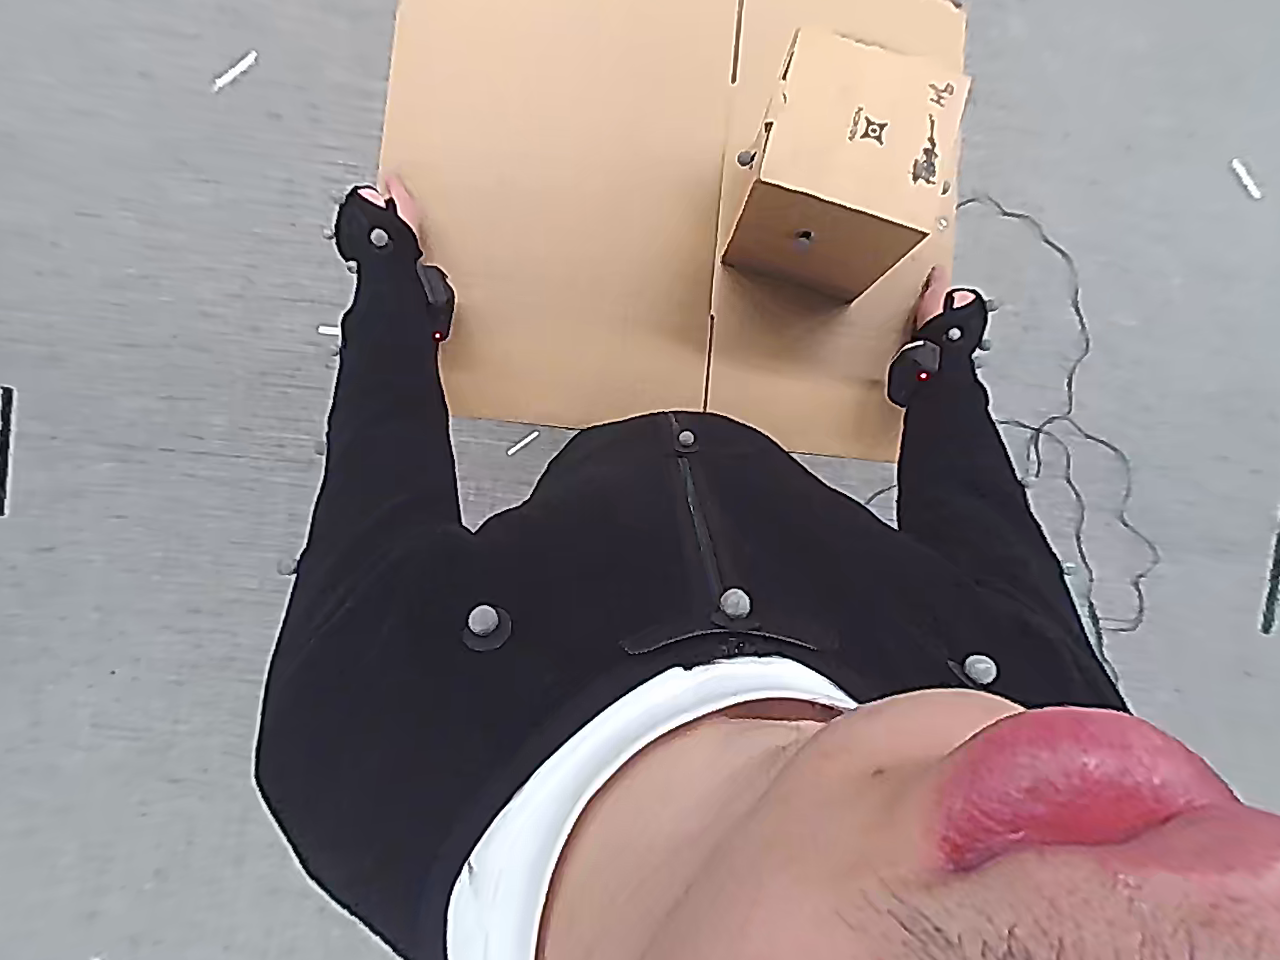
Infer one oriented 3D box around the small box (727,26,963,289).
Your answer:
[{"bbox_3d":[0.207,-0.335,0.598,0.179,0.176,0.168,16,87,-1],"label":"small box"}]
